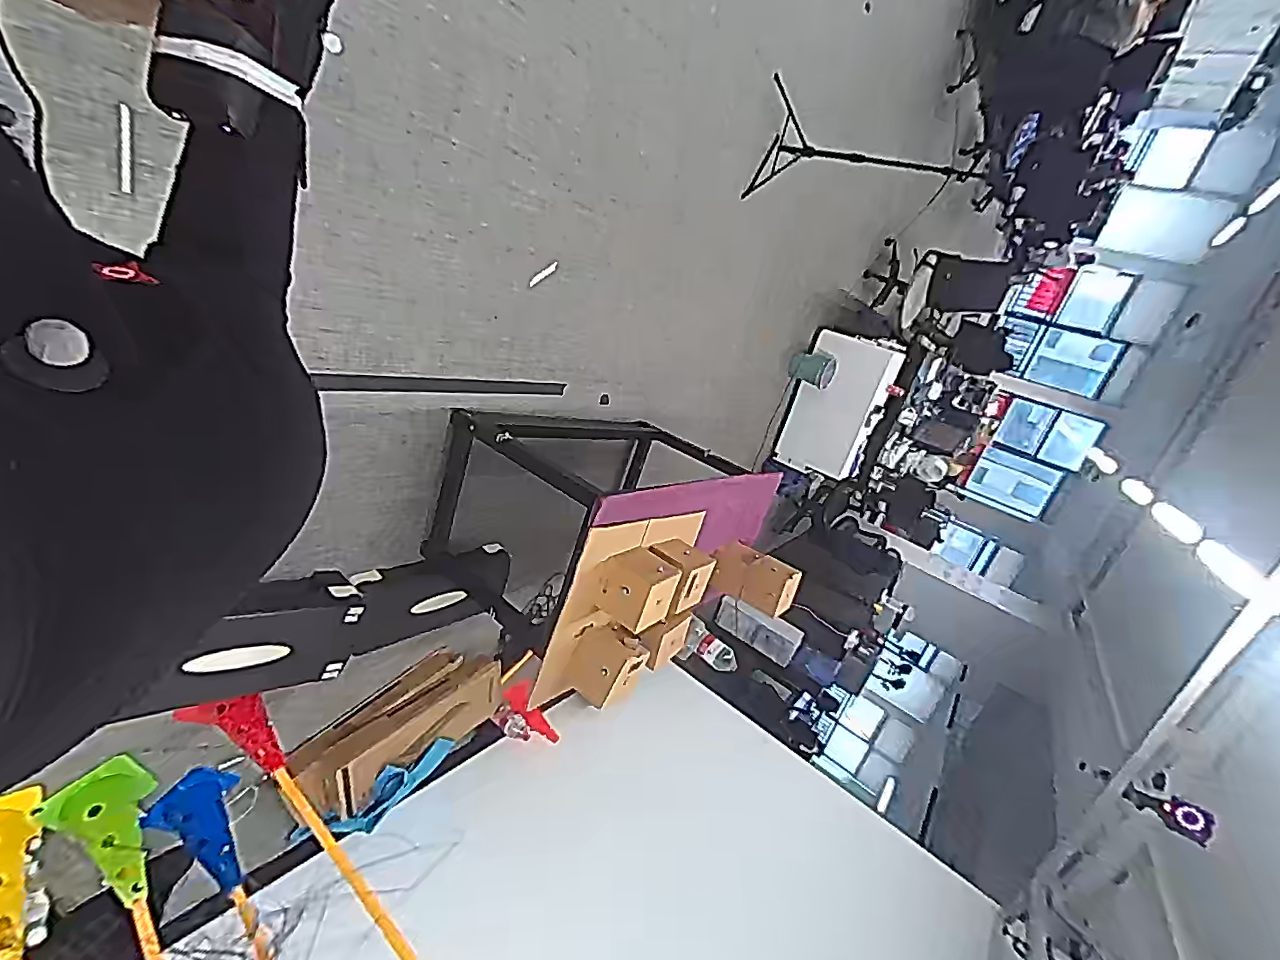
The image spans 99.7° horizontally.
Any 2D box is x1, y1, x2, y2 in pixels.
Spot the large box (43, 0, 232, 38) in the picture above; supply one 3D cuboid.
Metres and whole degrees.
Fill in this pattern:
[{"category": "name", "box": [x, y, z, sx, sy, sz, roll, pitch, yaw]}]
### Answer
[{"category": "large box", "box": [-0.456, -0.492, 0.234, 0.408, 0.320, 0.320, -4, 121, -58]}]
